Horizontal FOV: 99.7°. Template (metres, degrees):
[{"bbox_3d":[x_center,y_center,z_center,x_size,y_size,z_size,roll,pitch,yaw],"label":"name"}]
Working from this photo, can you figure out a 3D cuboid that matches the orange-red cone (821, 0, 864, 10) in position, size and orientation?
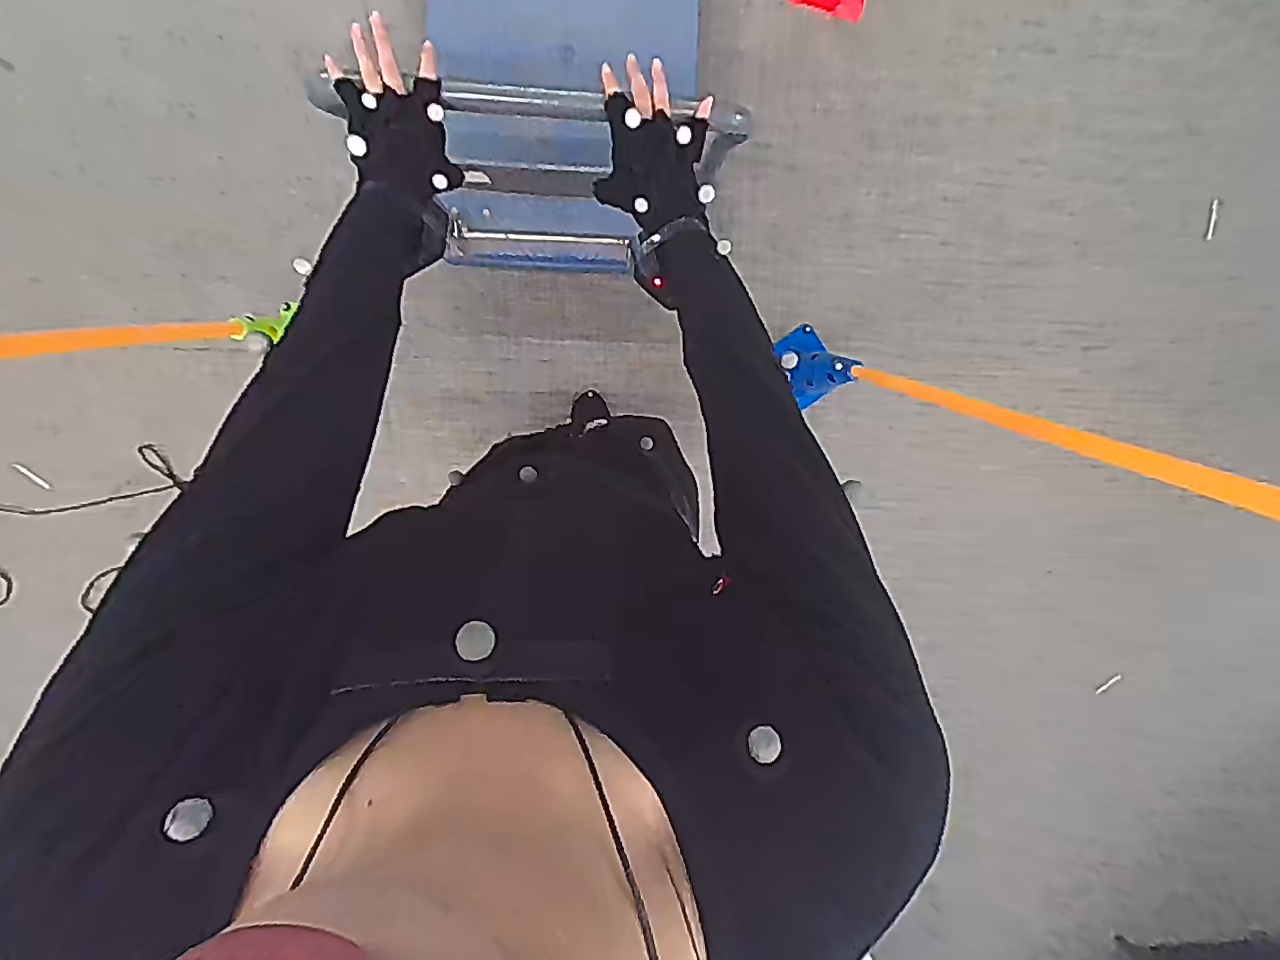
[{"bbox_3d":[0.488,-1.242,1.149,0.198,0.360,0.199,12,100,-6],"label":"orange-red cone"}]
